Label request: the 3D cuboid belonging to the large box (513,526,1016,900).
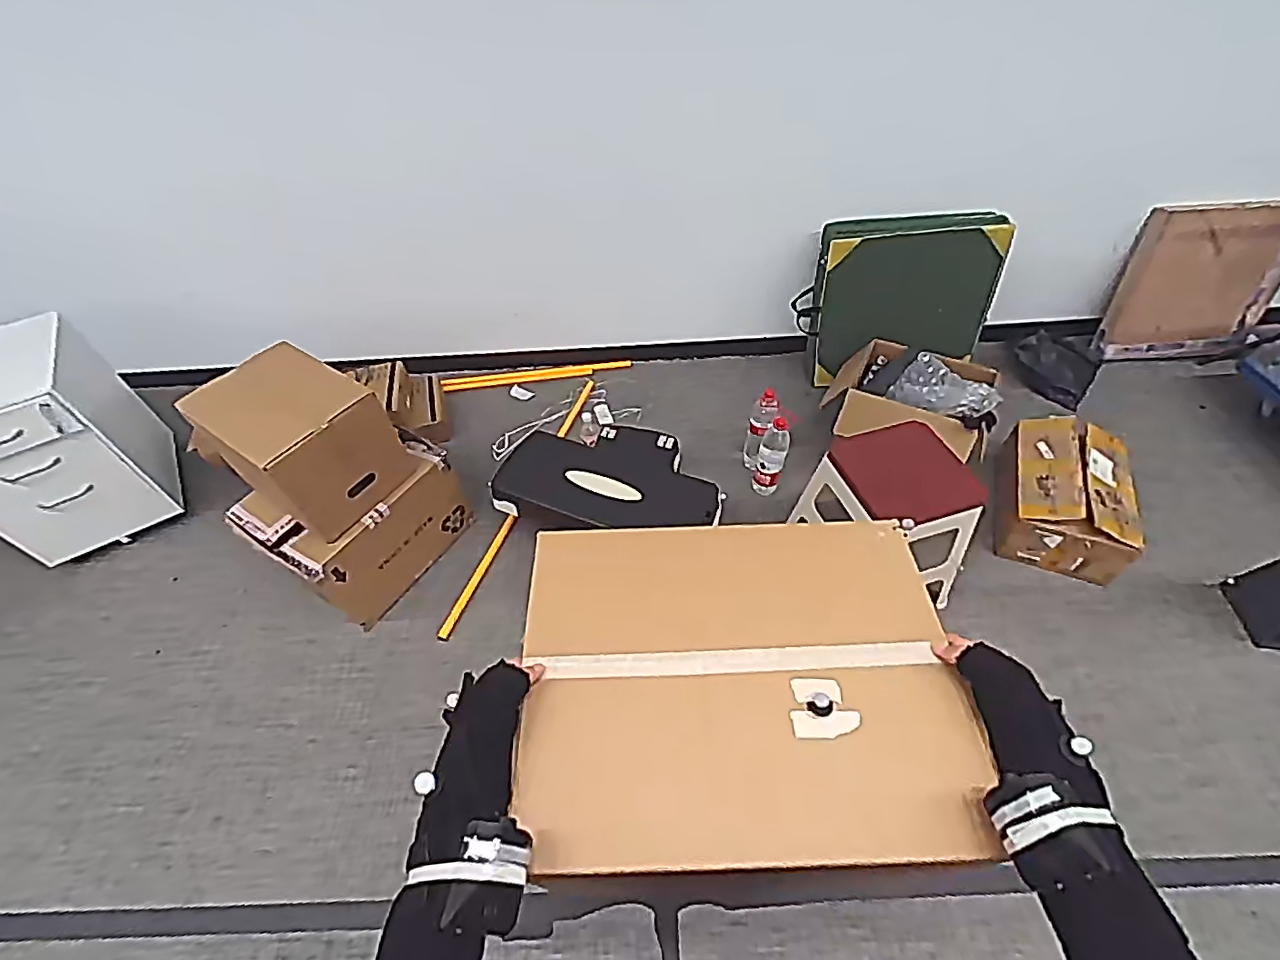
[{"bbox_3d":[0.094,0.273,0.626,0.408,0.320,0.320,-2,50,0],"label":"large box"}]
